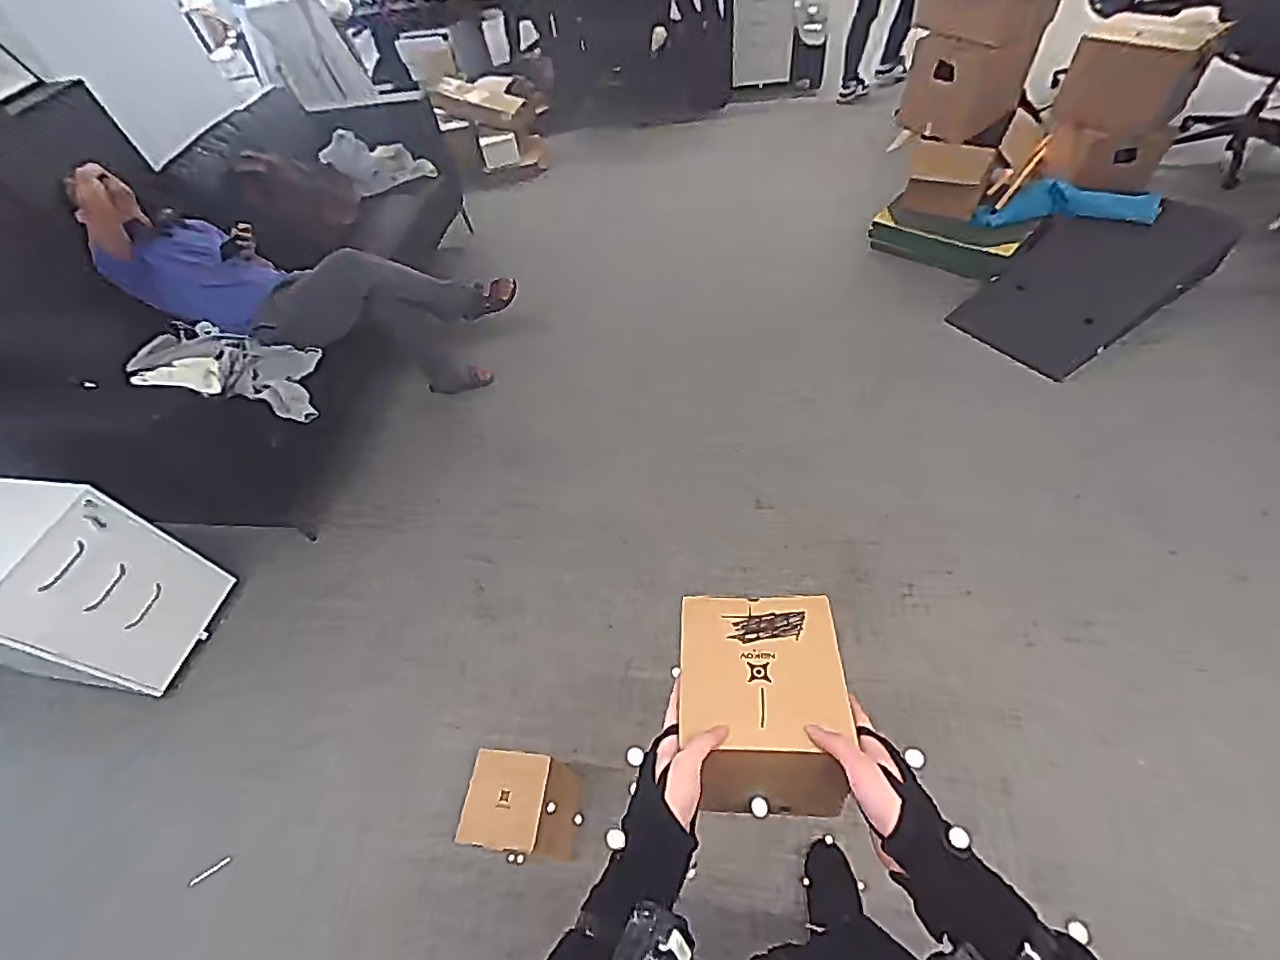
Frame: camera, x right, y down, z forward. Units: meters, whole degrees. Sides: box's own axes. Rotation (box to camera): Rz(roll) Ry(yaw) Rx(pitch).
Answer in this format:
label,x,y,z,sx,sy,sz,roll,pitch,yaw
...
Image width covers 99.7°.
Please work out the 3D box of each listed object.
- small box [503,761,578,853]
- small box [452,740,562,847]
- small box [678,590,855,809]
label,x,y,z,sx,sy,sz,roll,pitch,yaw
small box,-0.256,0.781,1.305,0.168,0.176,0.179,2,54,11
small box,-0.277,0.684,1.176,0.168,0.176,0.179,1,53,9
small box,0.132,0.245,0.616,0.168,0.176,0.179,-3,41,8
